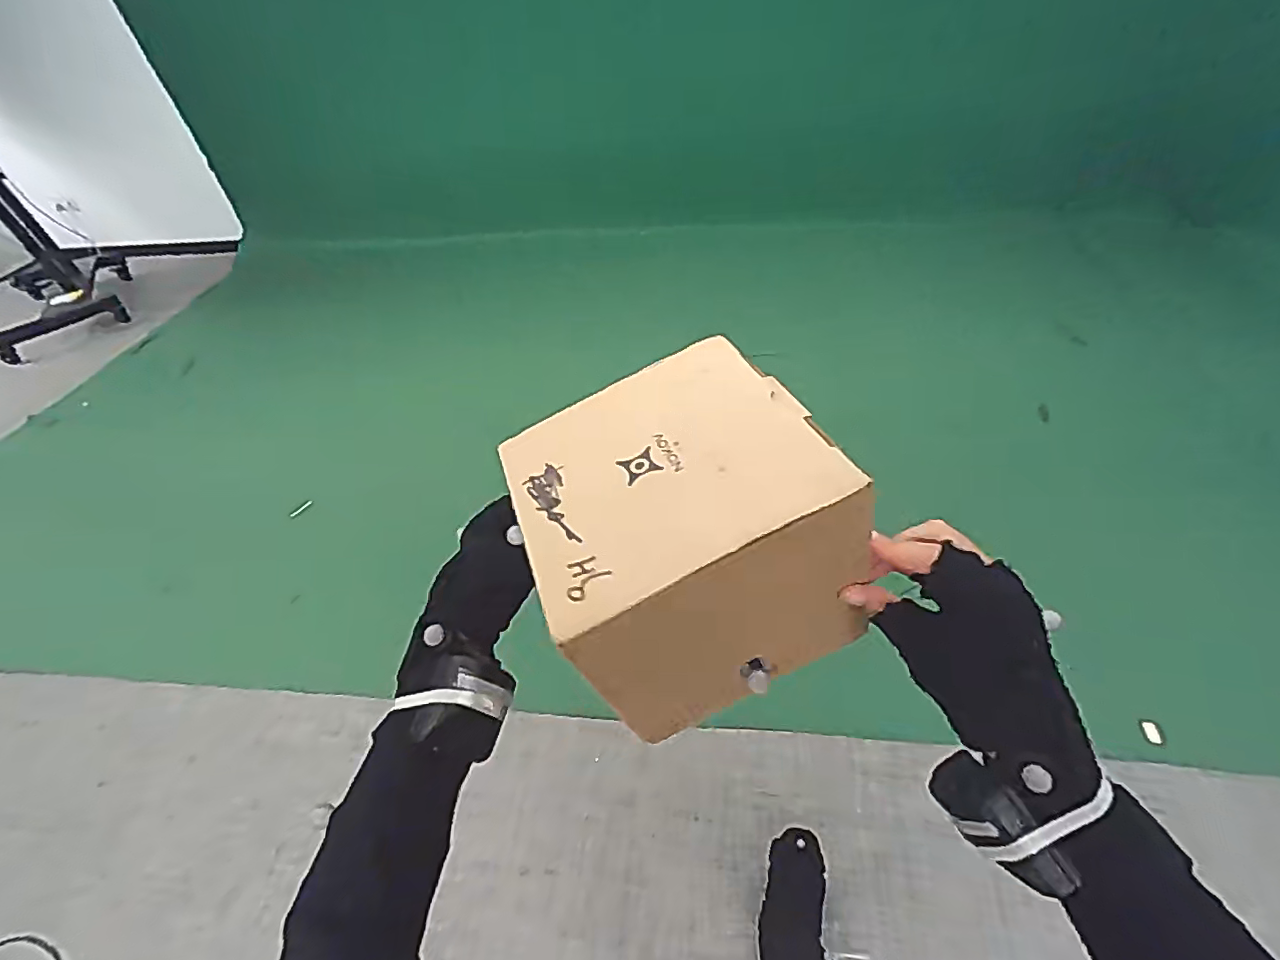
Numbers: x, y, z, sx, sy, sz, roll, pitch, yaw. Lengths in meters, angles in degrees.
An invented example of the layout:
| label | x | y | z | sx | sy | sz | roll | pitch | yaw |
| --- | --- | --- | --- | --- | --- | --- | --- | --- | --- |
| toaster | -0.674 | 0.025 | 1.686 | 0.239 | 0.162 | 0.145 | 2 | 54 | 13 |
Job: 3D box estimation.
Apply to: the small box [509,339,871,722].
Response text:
| label | x | y | z | sx | sy | sz | roll | pitch | yaw |
| --- | --- | --- | --- | --- | --- | --- | --- | --- | --- |
| small box | 0.035 | 0.039 | 0.385 | 0.179 | 0.176 | 0.168 | -27 | 47 | -3 |
